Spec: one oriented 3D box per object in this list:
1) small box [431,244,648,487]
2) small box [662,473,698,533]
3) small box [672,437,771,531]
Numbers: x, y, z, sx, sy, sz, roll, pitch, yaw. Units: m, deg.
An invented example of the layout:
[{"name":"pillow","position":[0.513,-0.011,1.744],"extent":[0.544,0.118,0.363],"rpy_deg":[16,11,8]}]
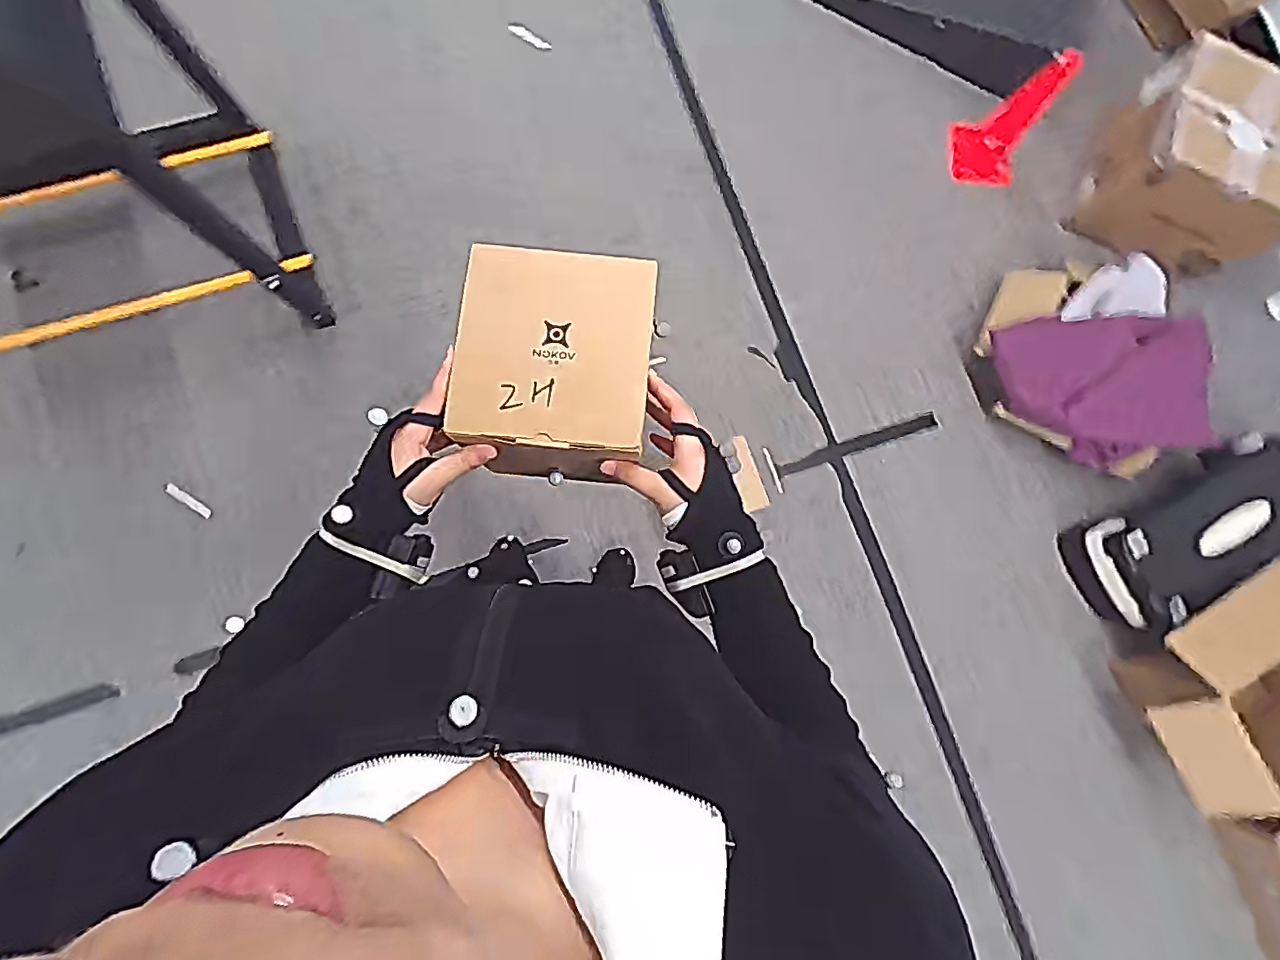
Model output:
[{"name":"small box","position":[-0.083,-0.099,0.530],"extent":[0.168,0.176,0.179],"rpy_deg":[4,79,0]},{"name":"small box","position":[0.173,0.035,1.466],"extent":[0.179,0.176,0.168],"rpy_deg":[-24,85,-6]},{"name":"small box","position":[0.187,0.017,1.302],"extent":[0.168,0.176,0.179],"rpy_deg":[-19,86,-6]}]
